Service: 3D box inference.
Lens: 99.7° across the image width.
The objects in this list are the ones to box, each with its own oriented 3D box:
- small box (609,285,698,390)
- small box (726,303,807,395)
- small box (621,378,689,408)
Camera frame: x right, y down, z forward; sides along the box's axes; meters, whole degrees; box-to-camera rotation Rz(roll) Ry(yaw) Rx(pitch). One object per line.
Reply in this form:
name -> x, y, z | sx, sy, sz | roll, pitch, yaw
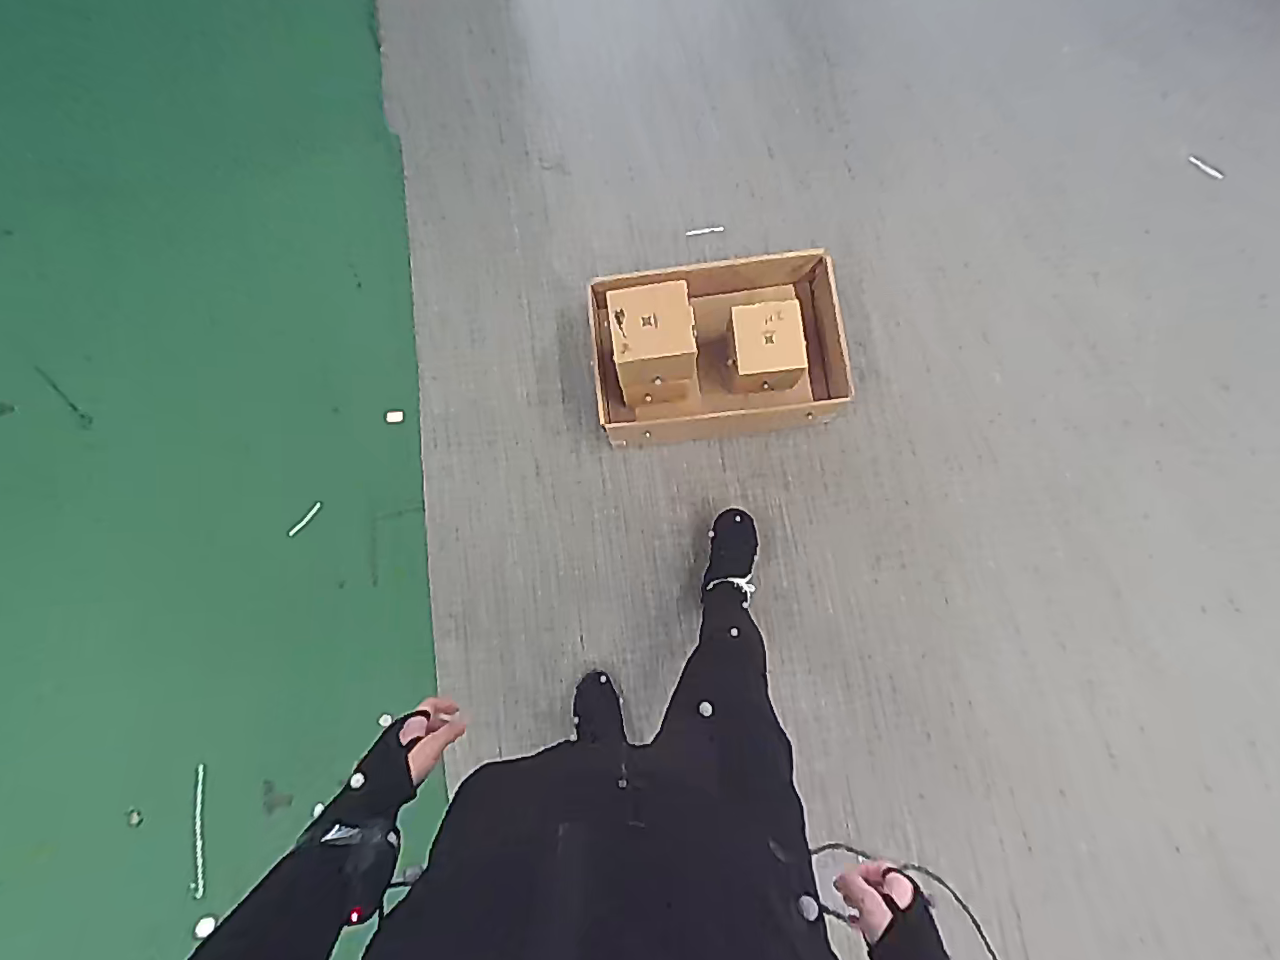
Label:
small box -> 0.029, -0.315, 1.220 | 0.179, 0.176, 0.168 | -7, 79, 1
small box -> 0.315, -0.322, 1.372 | 0.168, 0.176, 0.179 | -5, 80, 2
small box -> 0.034, -0.291, 1.382 | 0.168, 0.176, 0.179 | -6, 79, 1
